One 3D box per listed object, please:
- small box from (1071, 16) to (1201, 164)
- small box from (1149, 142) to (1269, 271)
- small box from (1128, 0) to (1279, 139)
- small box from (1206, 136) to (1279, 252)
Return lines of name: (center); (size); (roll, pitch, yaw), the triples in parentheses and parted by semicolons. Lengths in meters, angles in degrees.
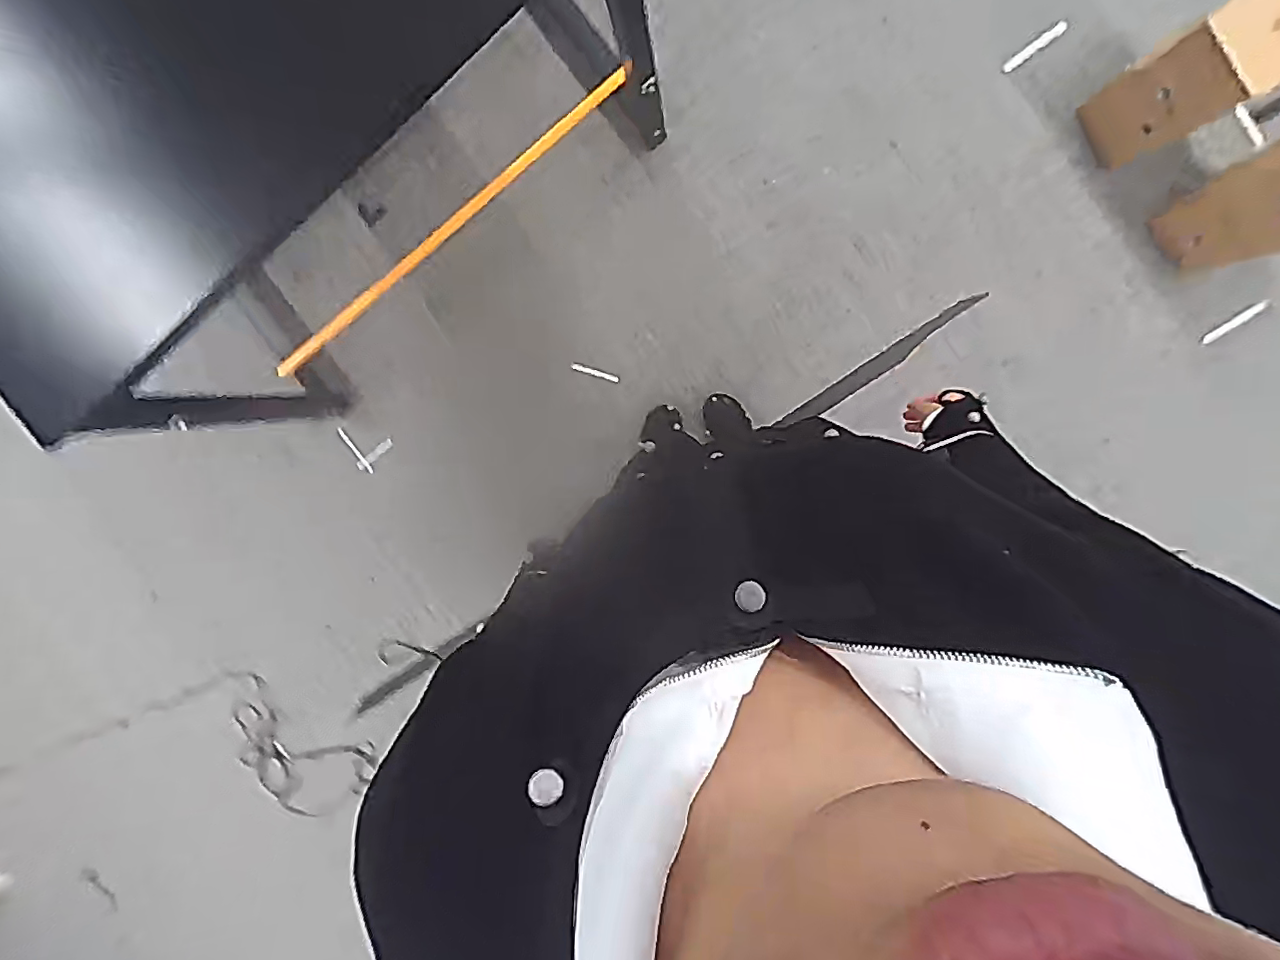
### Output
small box: (1.103, -0.824, 1.173); (0.168, 0.176, 0.179); (-34, 93, 10)
small box: (1.290, -0.592, 1.191); (0.179, 0.176, 0.168); (-38, 93, 12)
small box: (1.093, -0.795, 1.013); (0.179, 0.176, 0.168); (-35, 92, 12)
small box: (1.264, -0.569, 1.029); (0.168, 0.176, 0.179); (-38, 94, 11)
